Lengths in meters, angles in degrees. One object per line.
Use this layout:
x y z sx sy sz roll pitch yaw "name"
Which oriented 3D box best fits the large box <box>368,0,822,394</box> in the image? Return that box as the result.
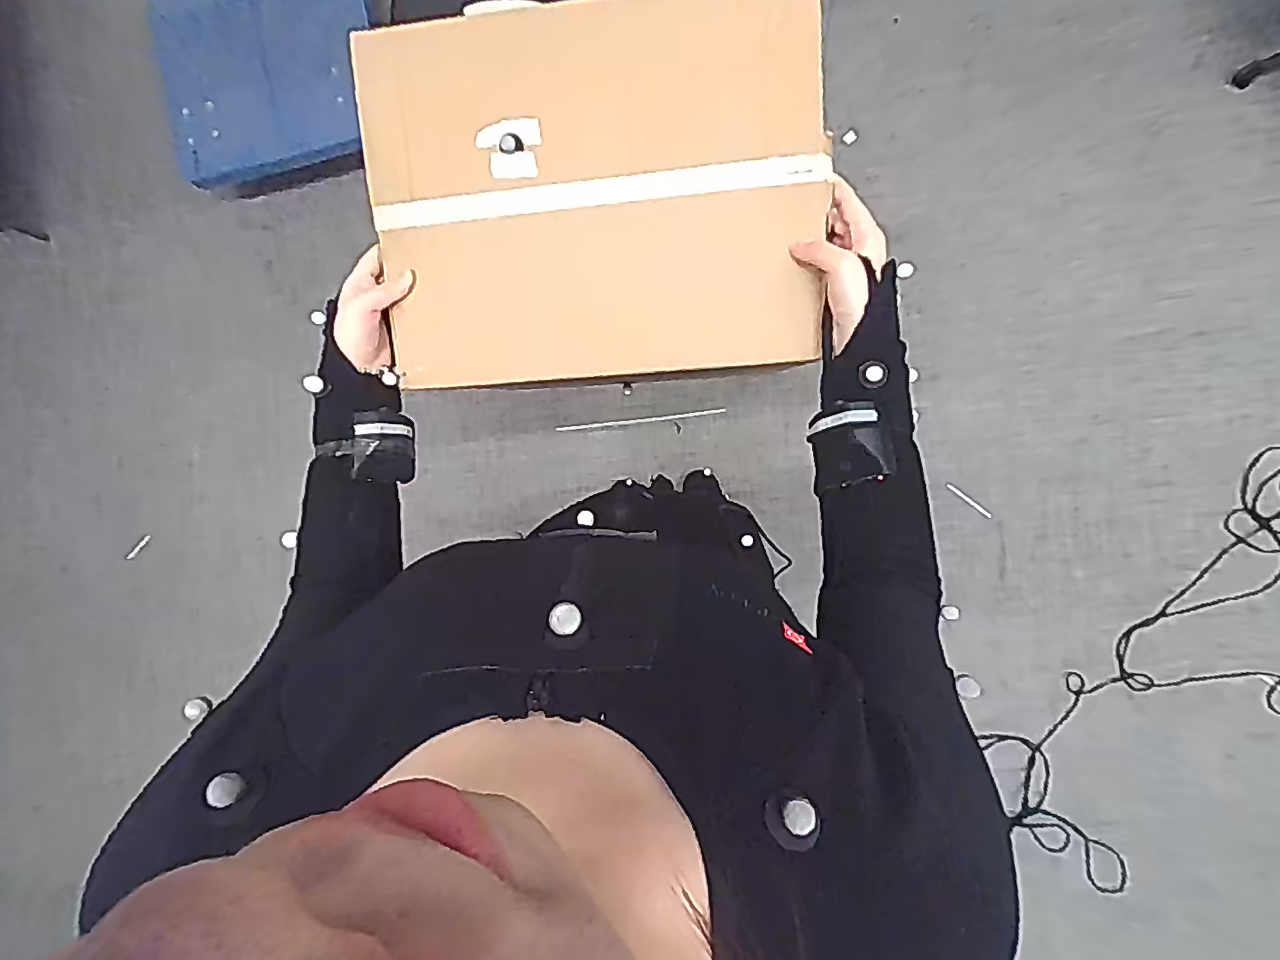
-0.024 -0.277 0.640 0.408 0.320 0.320 -3 98 8 "large box"
